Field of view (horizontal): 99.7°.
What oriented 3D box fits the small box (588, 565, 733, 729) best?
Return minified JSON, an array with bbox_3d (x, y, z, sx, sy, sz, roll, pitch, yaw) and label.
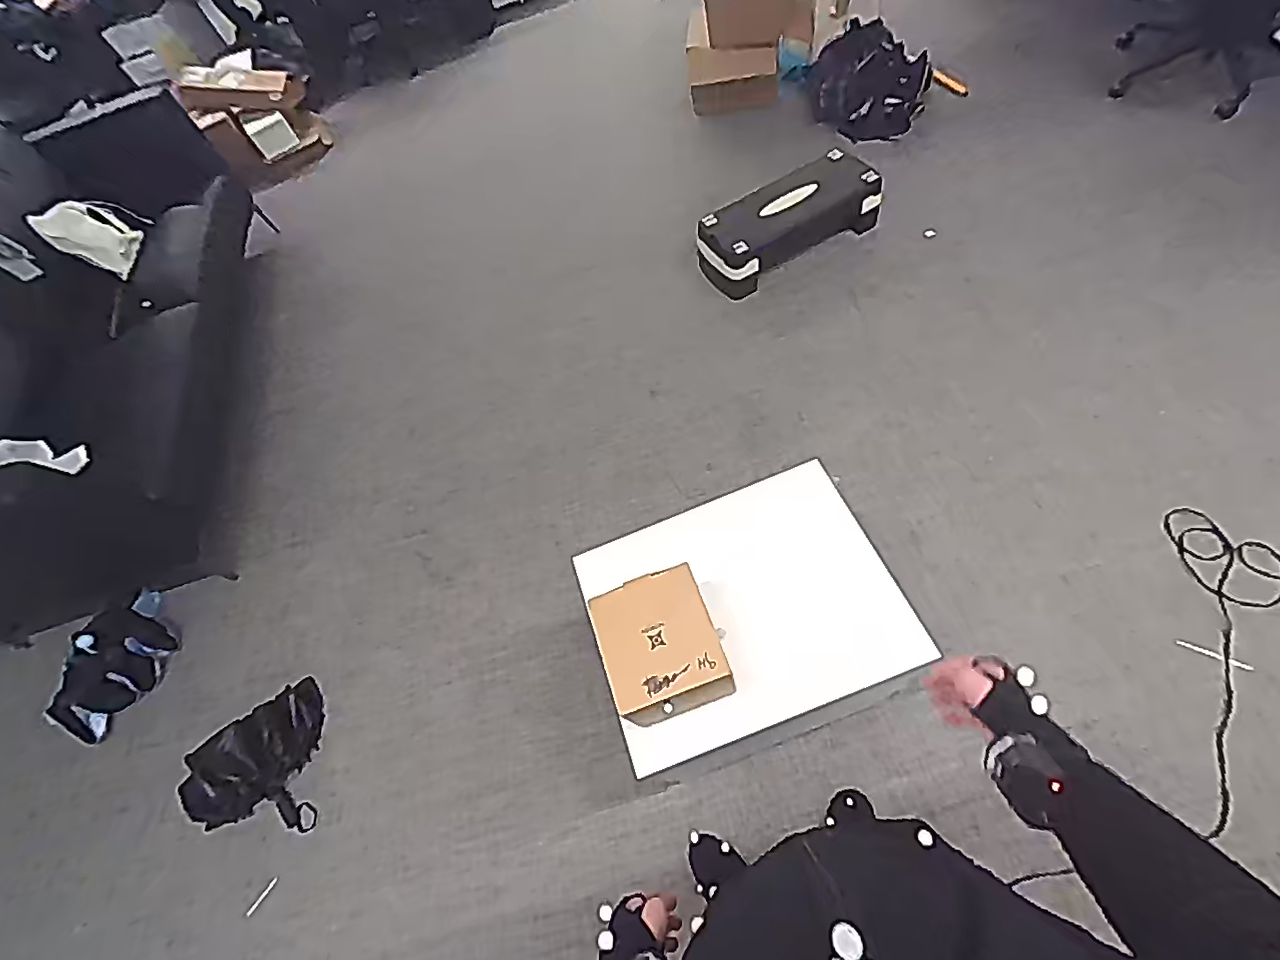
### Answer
[{"bbox_3d":[0.035,0.263,0.839,0.168,0.176,0.179,-21,57,-1],"label":"small box"}]
